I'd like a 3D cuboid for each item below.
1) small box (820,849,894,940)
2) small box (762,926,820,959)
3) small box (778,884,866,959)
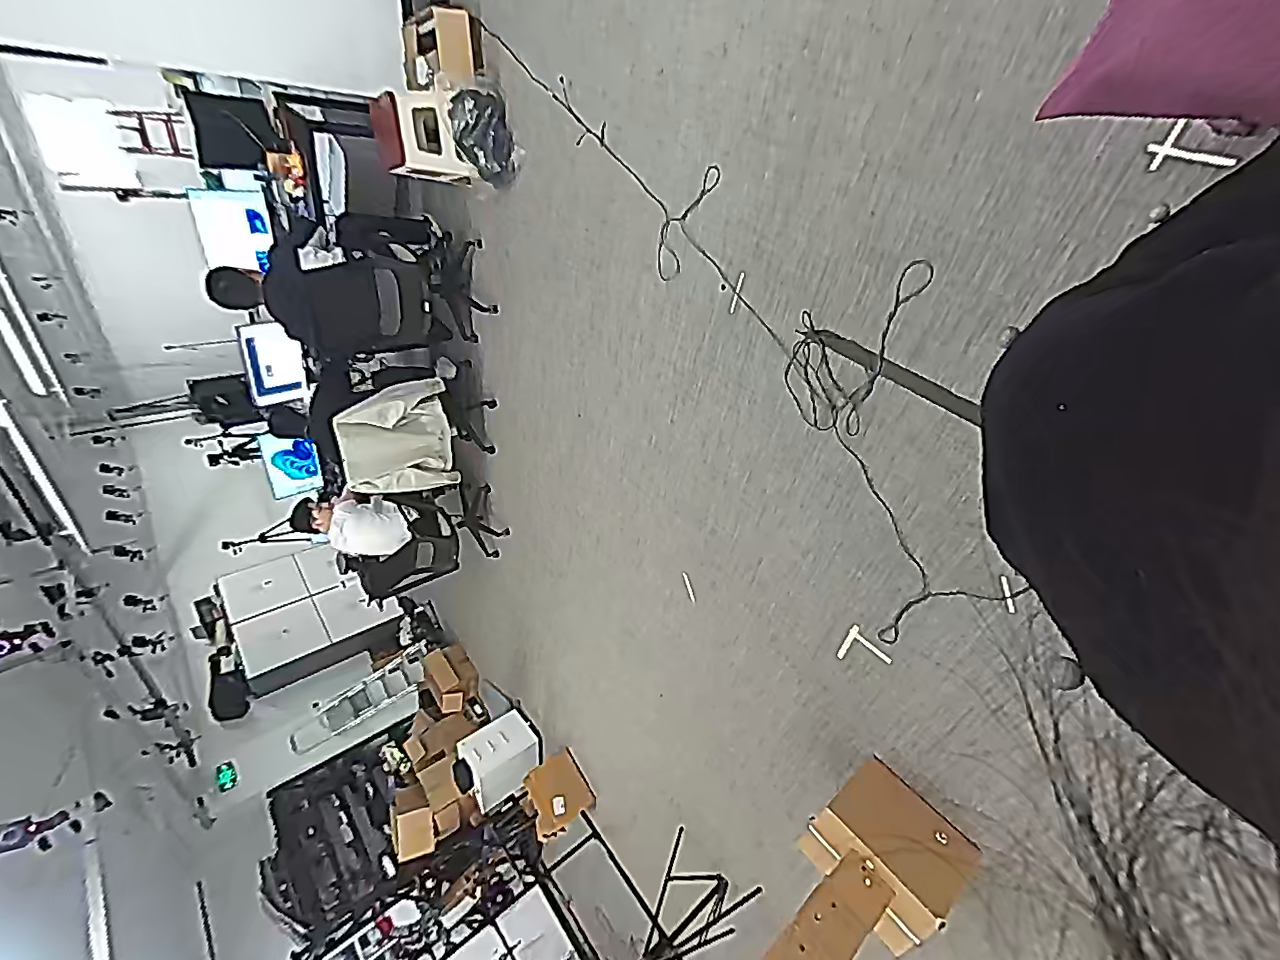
[{"bbox_3d":[0.664,1.318,1.702,0.168,0.176,0.179,38,132,34],"label":"small box"},{"bbox_3d":[0.418,1.407,1.505,0.168,0.176,0.179,35,130,39],"label":"small box"},{"bbox_3d":[0.540,1.356,1.604,0.168,0.176,0.179,38,134,36],"label":"small box"}]
